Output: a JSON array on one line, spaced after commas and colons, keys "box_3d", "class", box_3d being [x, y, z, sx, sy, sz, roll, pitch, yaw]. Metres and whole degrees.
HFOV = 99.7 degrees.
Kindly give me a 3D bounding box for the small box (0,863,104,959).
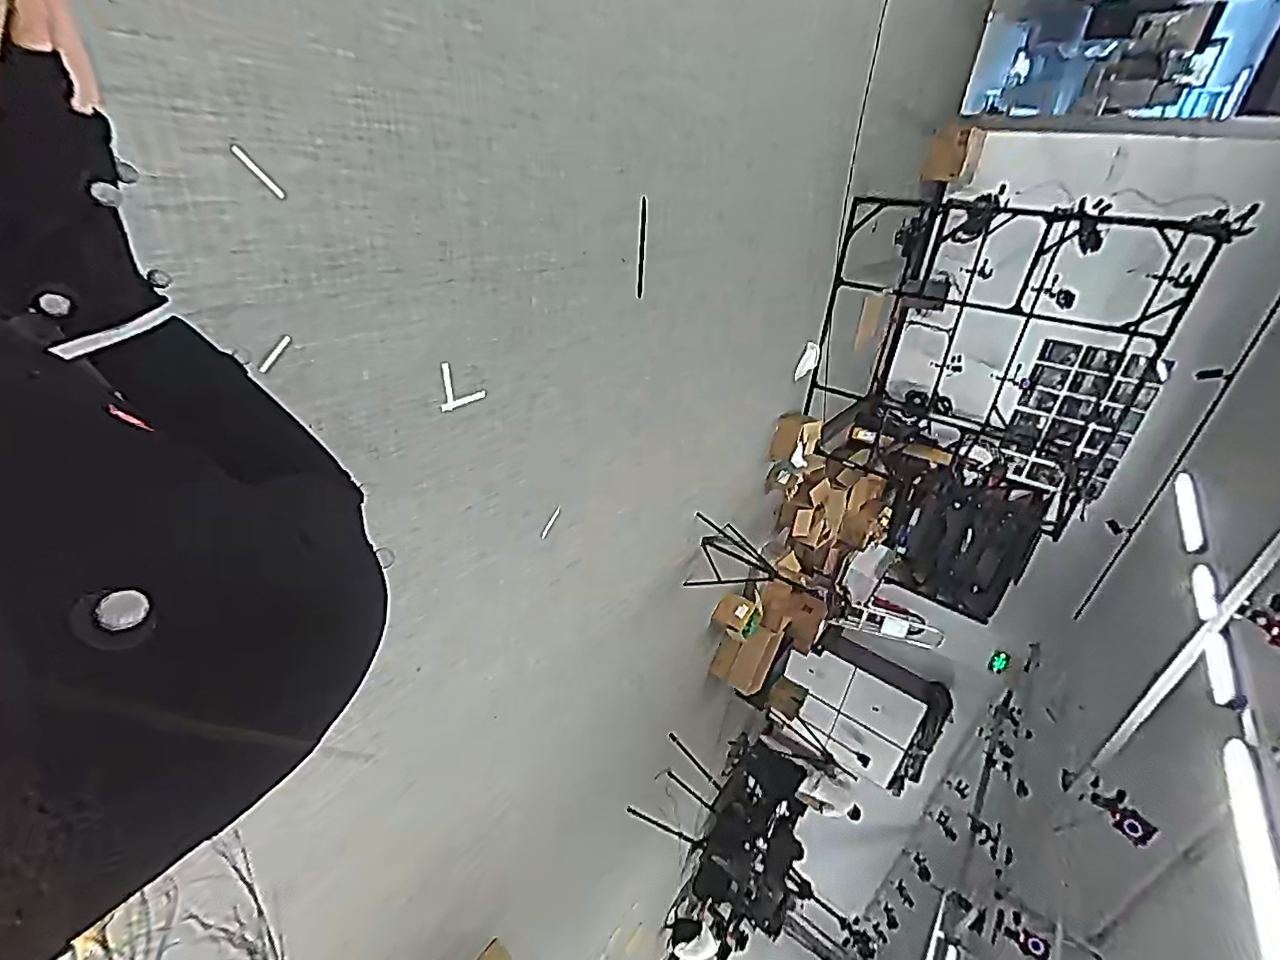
[{"box_3d": [-1.290, 0.959, 1.129, 0.179, 0.176, 0.168, -32, 136, -43], "class": "small box"}]
